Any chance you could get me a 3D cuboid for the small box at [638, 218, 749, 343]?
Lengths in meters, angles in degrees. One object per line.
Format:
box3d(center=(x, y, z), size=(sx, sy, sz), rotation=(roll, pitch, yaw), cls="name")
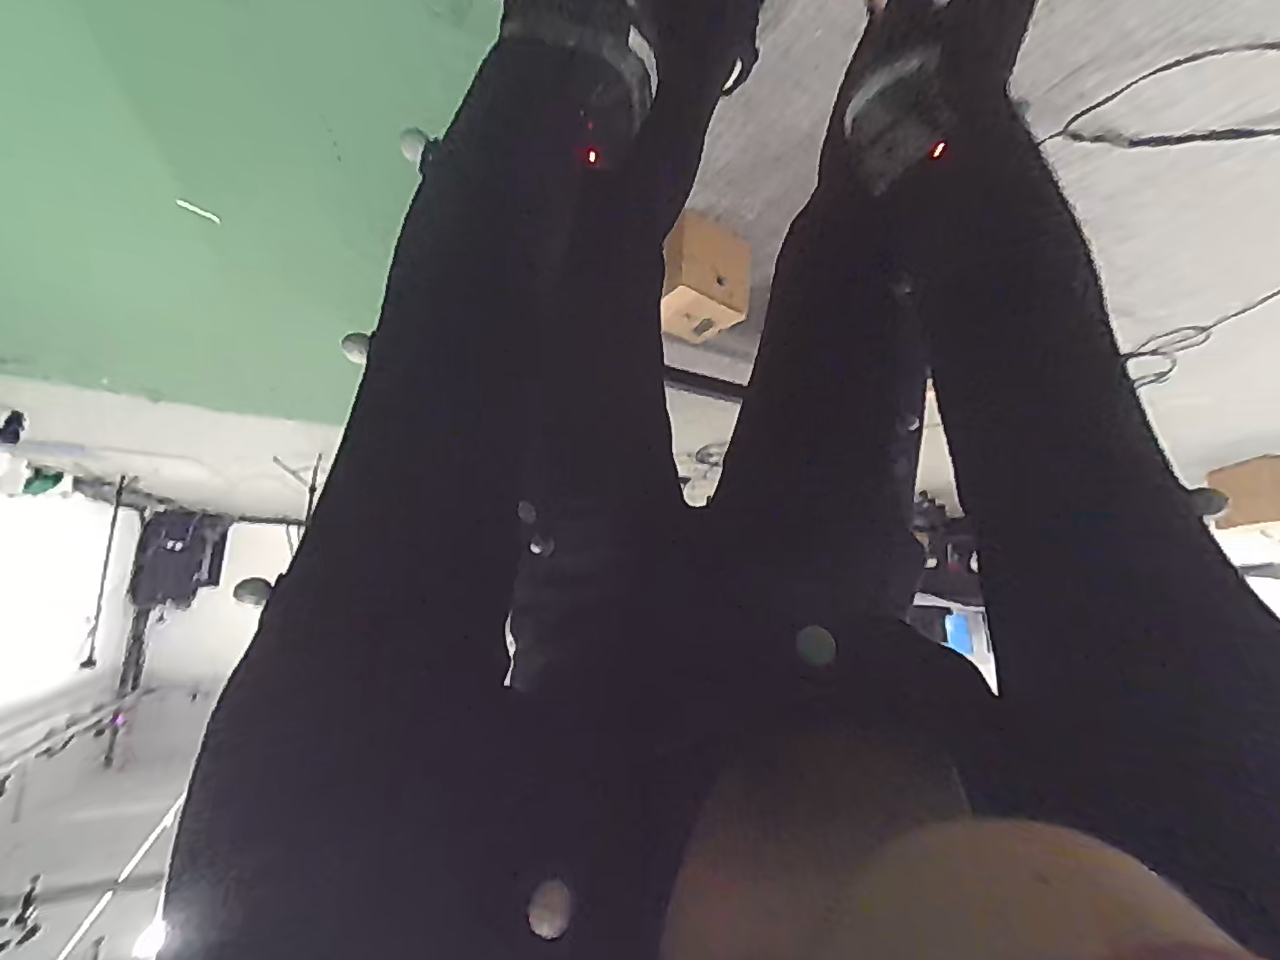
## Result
box3d(center=(0.114, -0.416, 1.142), size=(0.179, 0.176, 0.168), rotation=(10, 166, -32), cls="small box")
